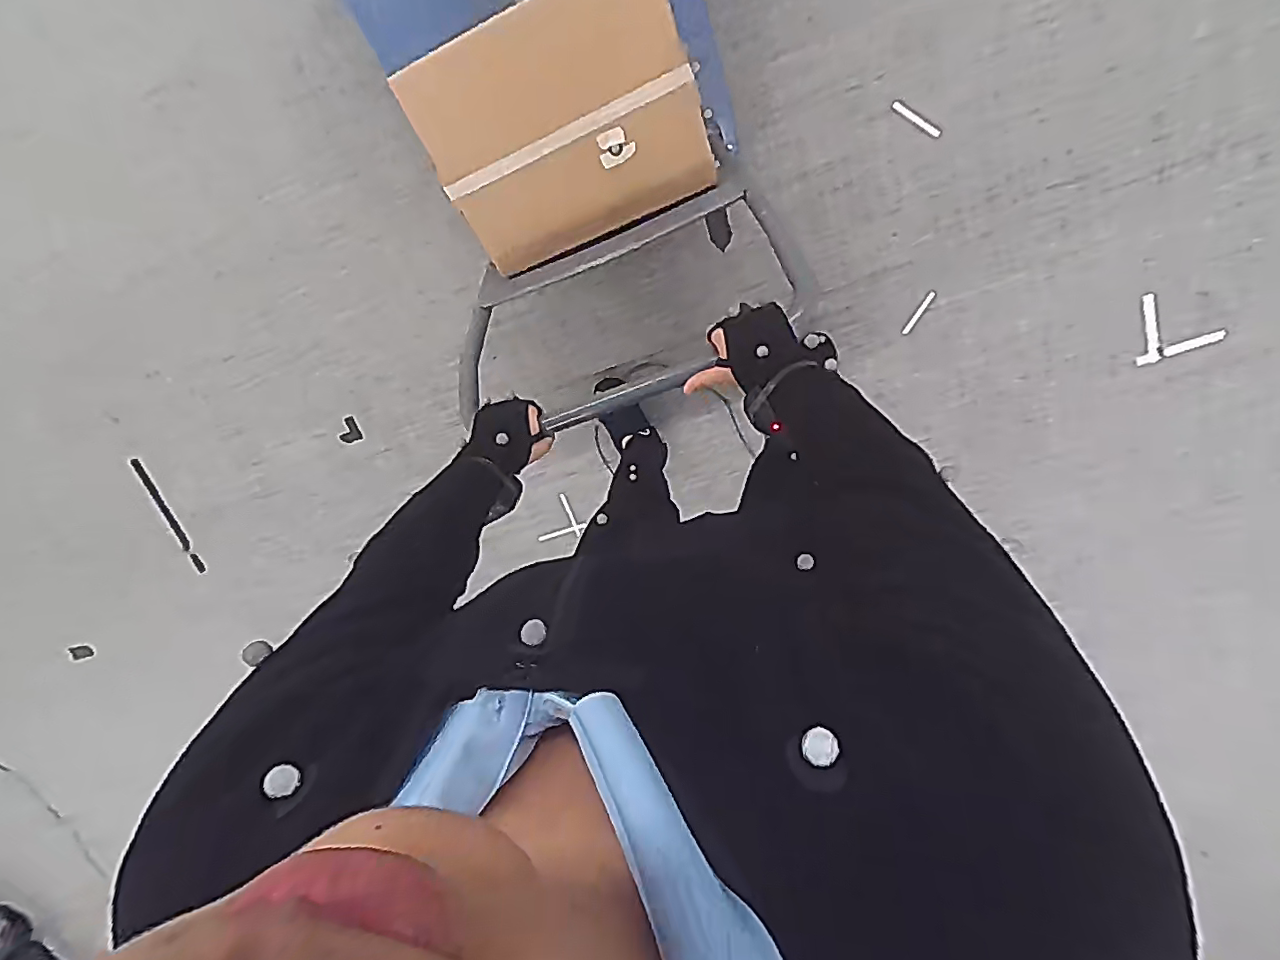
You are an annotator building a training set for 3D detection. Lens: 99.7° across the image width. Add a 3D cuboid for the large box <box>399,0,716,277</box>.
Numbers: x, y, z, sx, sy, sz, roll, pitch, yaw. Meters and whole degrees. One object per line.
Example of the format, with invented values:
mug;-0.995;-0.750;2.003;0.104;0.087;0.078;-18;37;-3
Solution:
large box;-0.124;-0.628;0.946;0.408;0.320;0.320;-20;130;12
